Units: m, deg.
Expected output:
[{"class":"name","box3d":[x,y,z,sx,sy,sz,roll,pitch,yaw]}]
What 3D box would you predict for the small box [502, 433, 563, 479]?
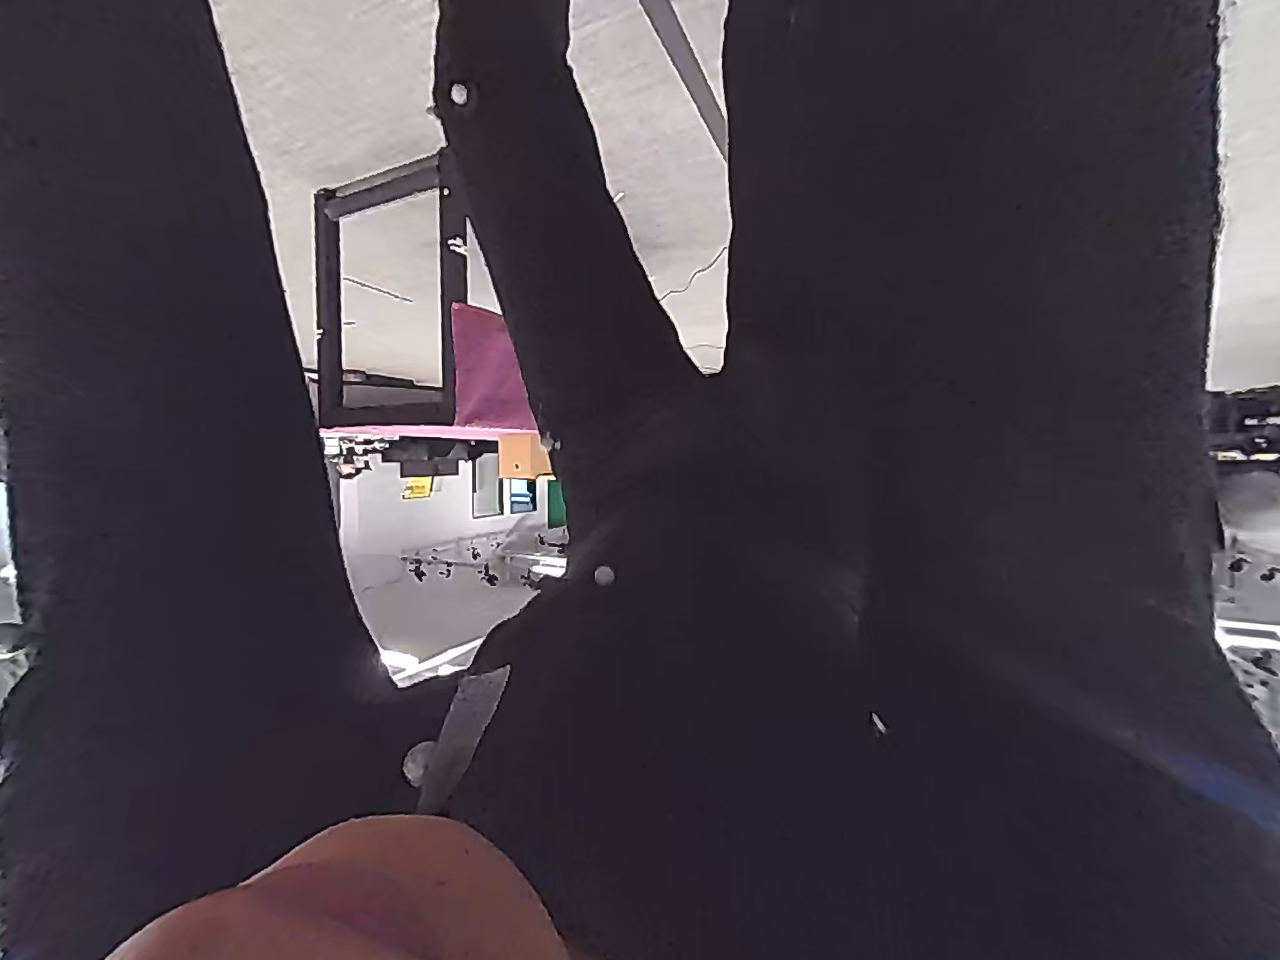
[{"class":"small box","box3d":[-0.417,-0.093,2.084,0.179,0.176,0.168,2,-177,35]}]
